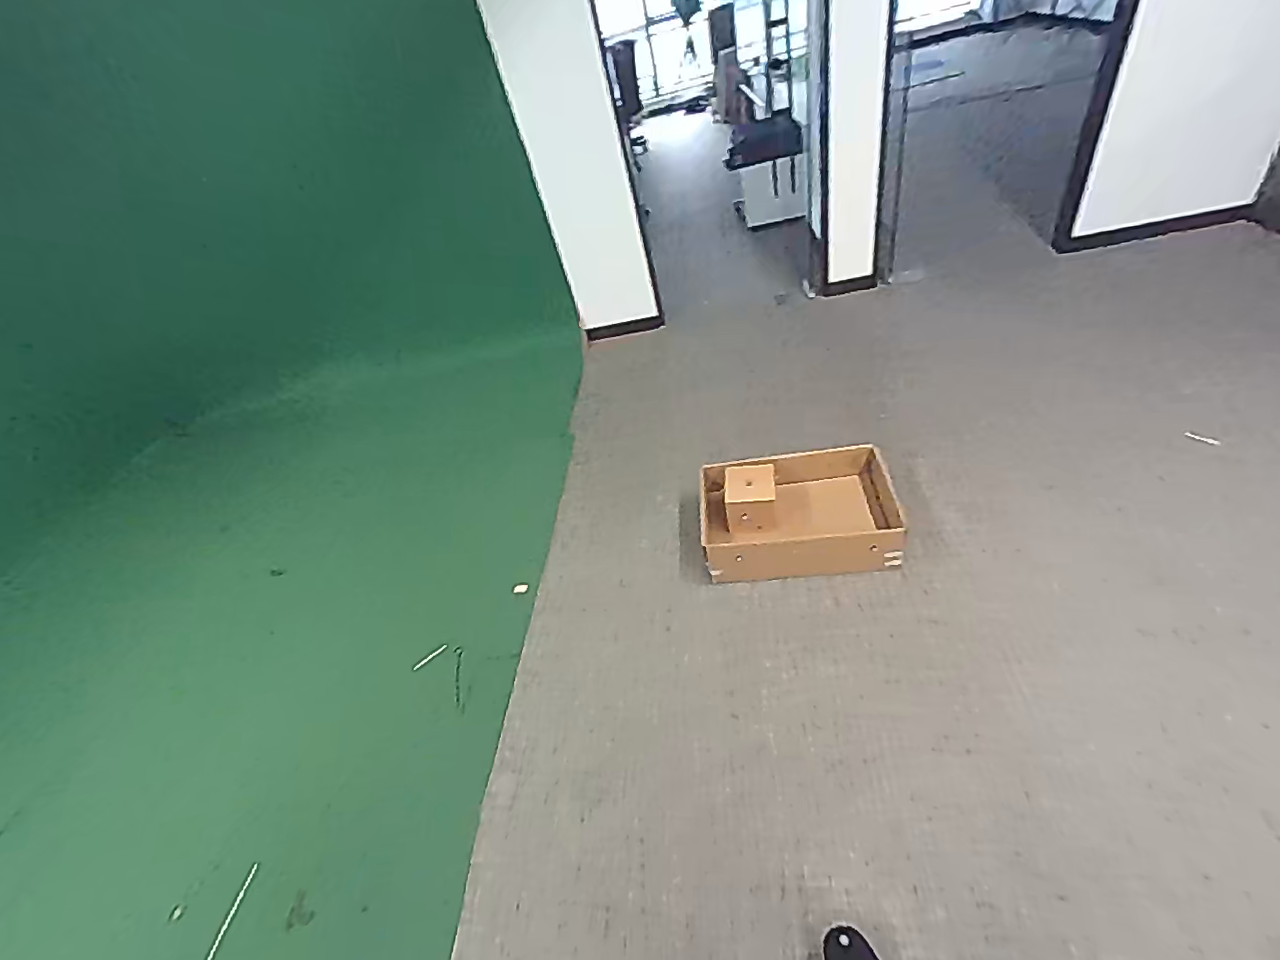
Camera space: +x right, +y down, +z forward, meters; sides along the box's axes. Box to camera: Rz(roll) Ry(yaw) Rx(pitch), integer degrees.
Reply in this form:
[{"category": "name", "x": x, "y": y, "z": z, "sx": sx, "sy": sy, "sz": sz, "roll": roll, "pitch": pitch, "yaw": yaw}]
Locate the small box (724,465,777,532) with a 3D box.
[{"category": "small box", "x": 0.389, "y": 0.070, "z": 1.890, "sx": 0.168, "sy": 0.176, "sz": 0.179, "roll": -4, "pitch": 43, "yaw": 14}]
